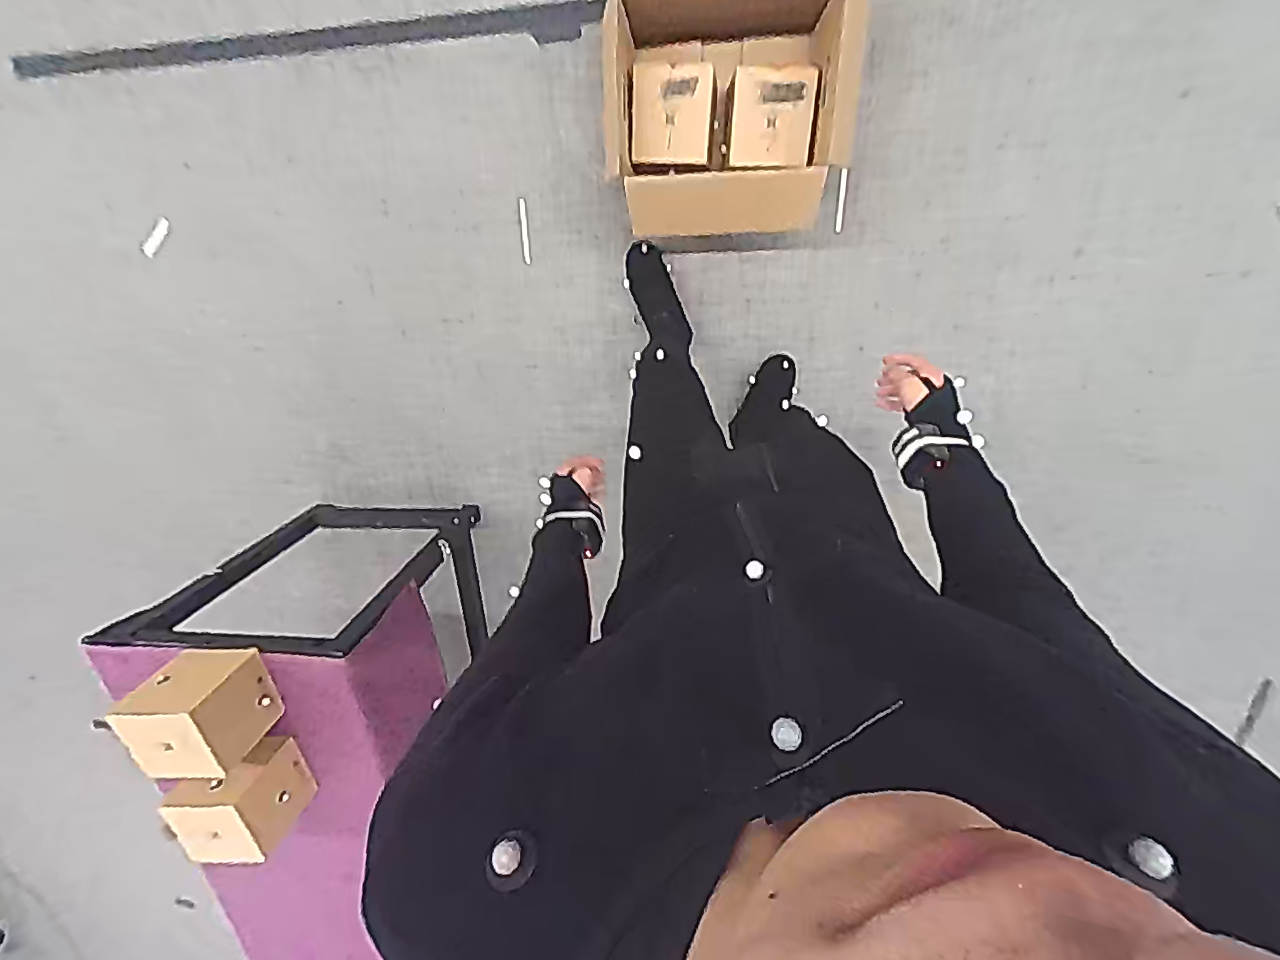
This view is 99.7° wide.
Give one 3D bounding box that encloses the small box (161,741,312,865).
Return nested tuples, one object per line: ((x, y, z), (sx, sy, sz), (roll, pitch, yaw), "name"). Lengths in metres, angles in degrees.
((-0.840, 0.681, 1.153), (0.179, 0.176, 0.168), (-5, 111, 9), "small box")

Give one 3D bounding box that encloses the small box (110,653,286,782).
((-0.853, 0.460, 1.063), (0.179, 0.176, 0.168), (-3, 114, 9), "small box")
